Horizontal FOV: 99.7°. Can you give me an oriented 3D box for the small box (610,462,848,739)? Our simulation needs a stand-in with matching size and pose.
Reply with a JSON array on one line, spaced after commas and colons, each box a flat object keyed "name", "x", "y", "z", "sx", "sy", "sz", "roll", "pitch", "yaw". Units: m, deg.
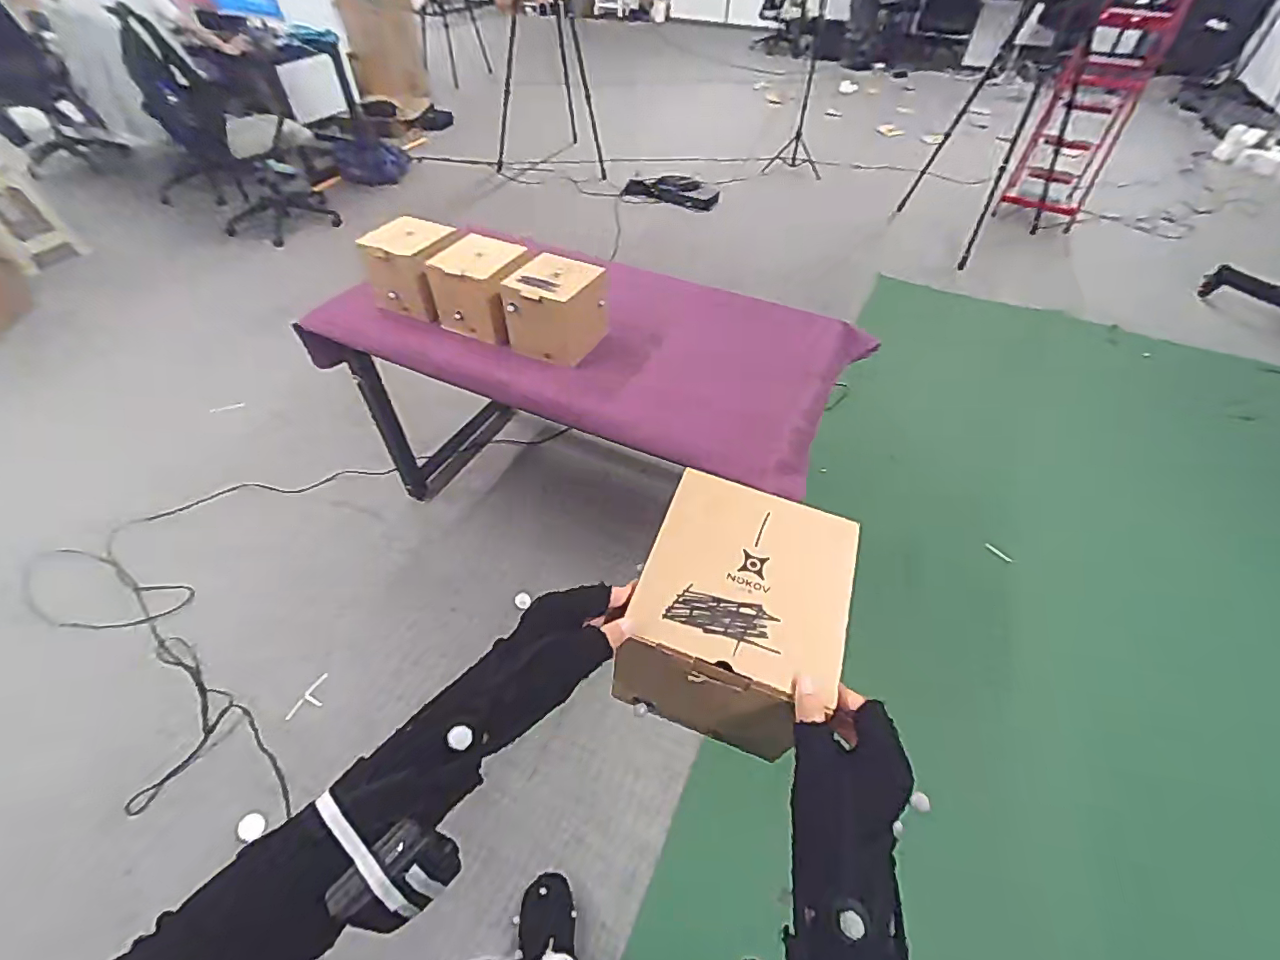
[{"name": "small box", "x": 0.079, "y": 0.118, "z": 0.515, "sx": 0.168, "sy": 0.176, "sz": 0.179, "roll": 18, "pitch": 52, "yaw": 10}]
